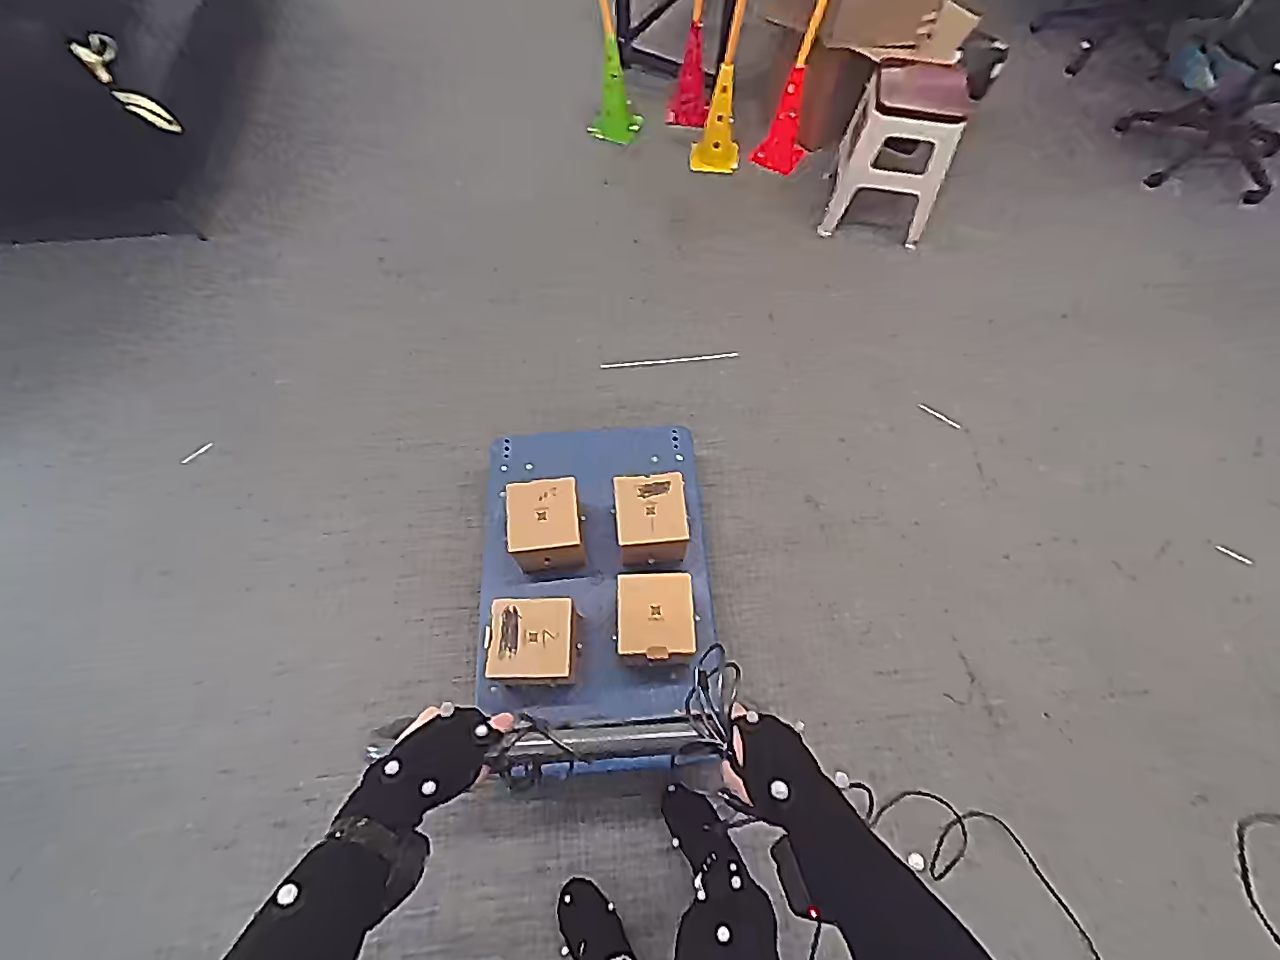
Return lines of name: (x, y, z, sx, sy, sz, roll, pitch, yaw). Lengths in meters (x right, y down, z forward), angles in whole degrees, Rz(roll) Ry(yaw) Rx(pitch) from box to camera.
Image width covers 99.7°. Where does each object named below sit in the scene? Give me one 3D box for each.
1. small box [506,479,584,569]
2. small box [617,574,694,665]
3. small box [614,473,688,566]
small box: (-0.232, 0.117, 1.340, 0.168, 0.176, 0.179, -6, 65, -3)
small box: (0.032, 0.324, 1.243, 0.168, 0.176, 0.179, -2, 66, 0)
small box: (0.024, 0.102, 1.345, 0.168, 0.176, 0.179, -5, 66, -1)
